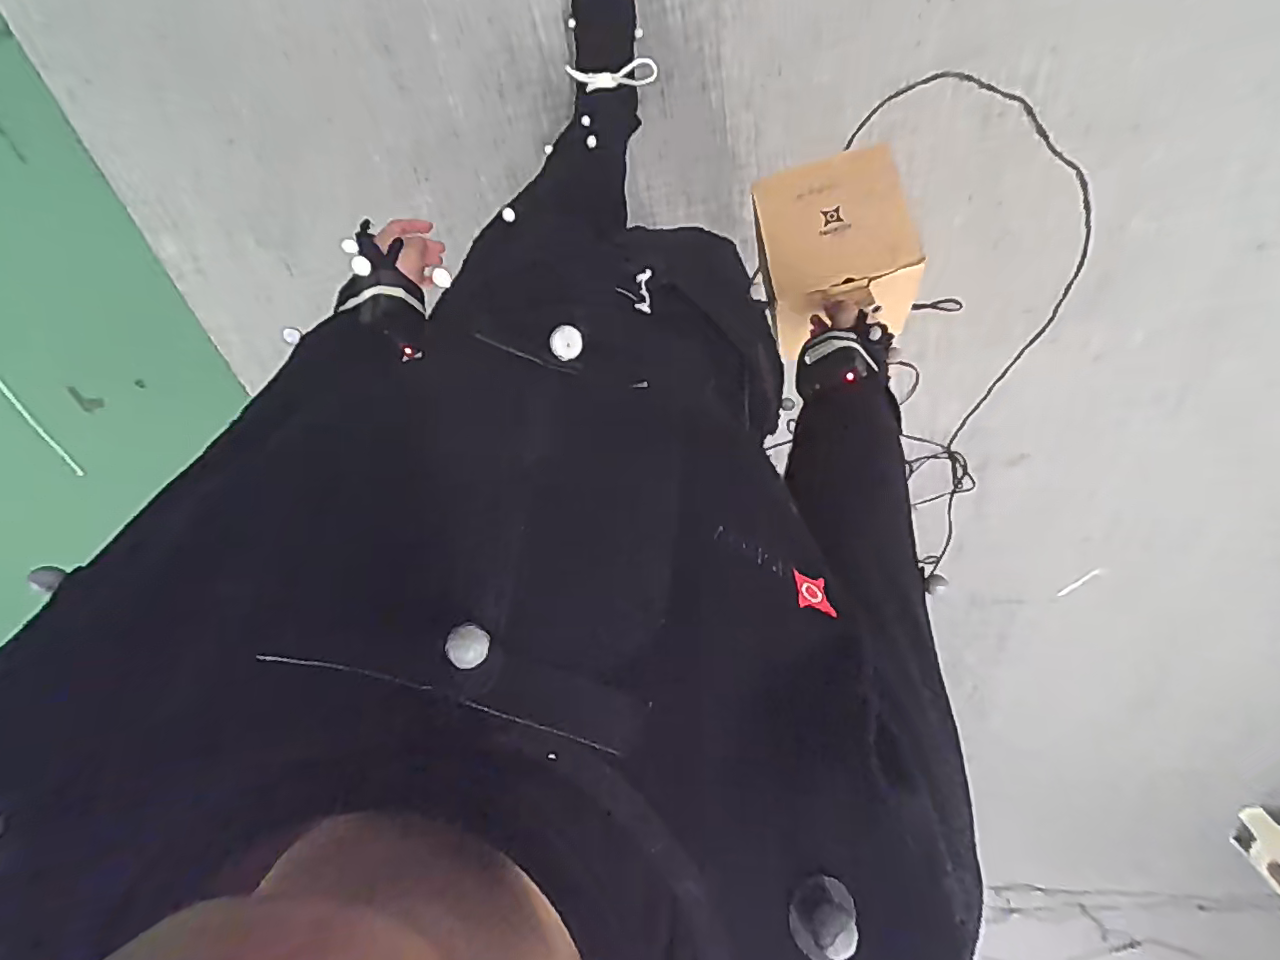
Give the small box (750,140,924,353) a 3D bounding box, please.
[{"bbox_3d":[0.245,-0.283,0.701,0.168,0.179,0.176,-11,163,13],"label":"small box"}]
